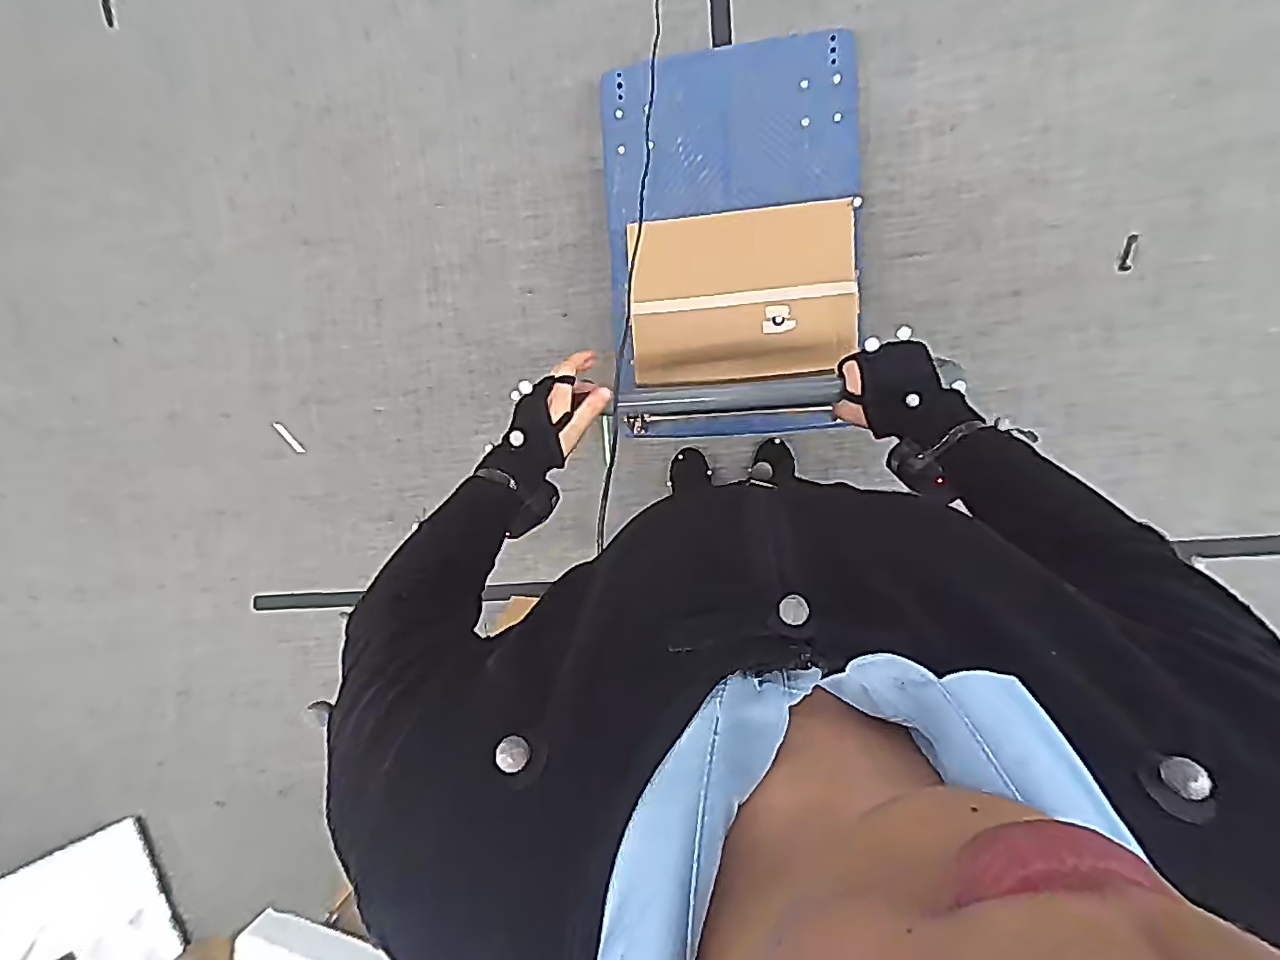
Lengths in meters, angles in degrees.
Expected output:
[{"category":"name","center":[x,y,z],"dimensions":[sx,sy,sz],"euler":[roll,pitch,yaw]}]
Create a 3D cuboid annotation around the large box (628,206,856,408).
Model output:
[{"category":"large box","center":[0.202,-0.328,1.132],"dimensions":[0.408,0.320,0.320],"euler":[-2,95,8]}]
